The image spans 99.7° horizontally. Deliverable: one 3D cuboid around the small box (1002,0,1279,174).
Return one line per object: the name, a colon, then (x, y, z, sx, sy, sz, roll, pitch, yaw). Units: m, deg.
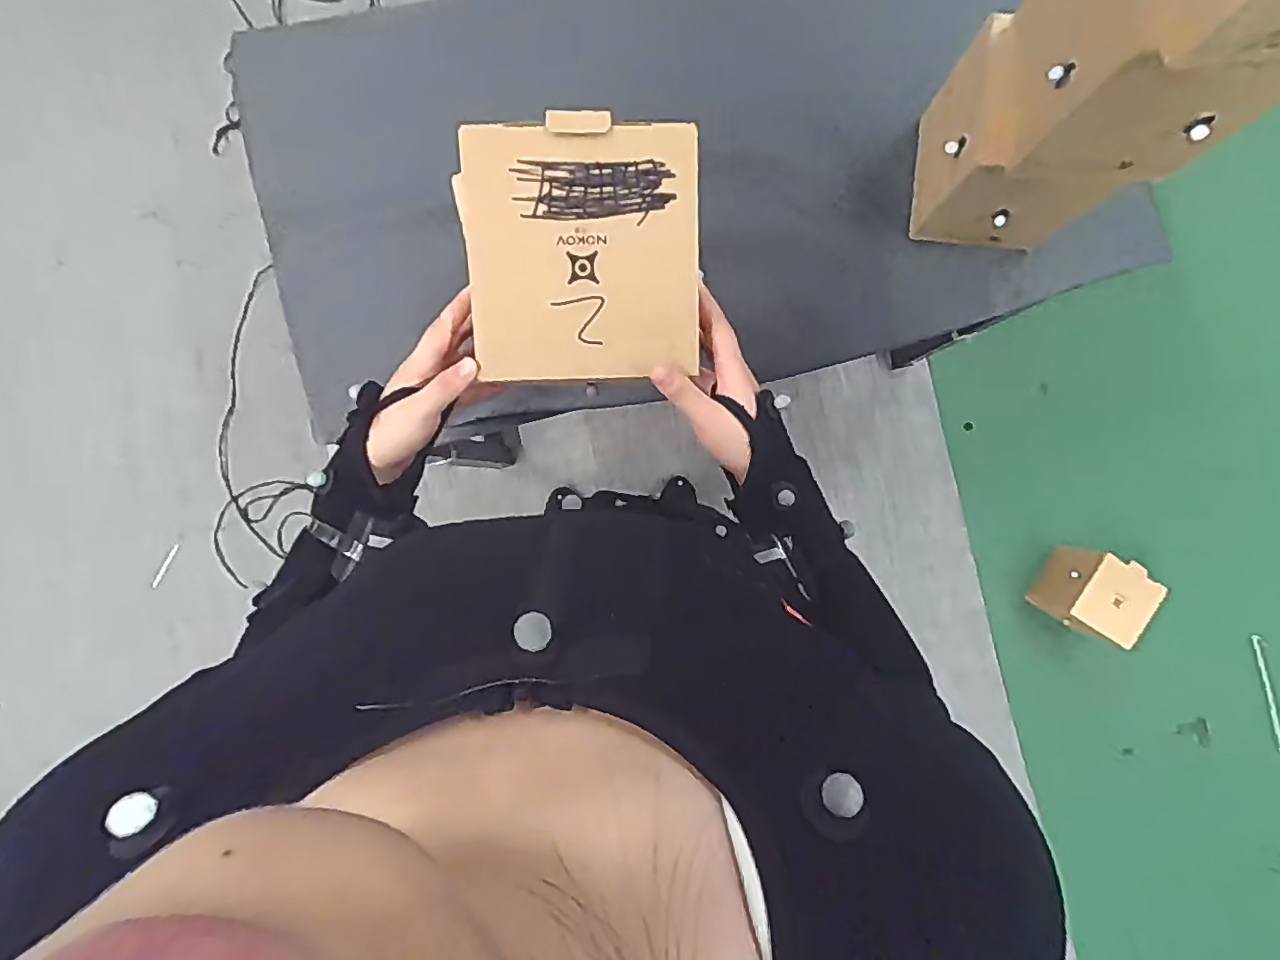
small box: (0.462, -0.407, 0.490, 0.168, 0.176, 0.179, 2, 87, 2)

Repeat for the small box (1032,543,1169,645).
small box: (1.138, 0.277, 1.357, 0.168, 0.176, 0.179, 32, 91, 2)

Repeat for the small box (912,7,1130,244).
small box: (0.449, -0.409, 0.652, 0.168, 0.176, 0.179, 6, 87, 3)

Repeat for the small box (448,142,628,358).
small box: (-0.117, -0.275, 0.683, 0.168, 0.176, 0.179, -14, 88, 2)
